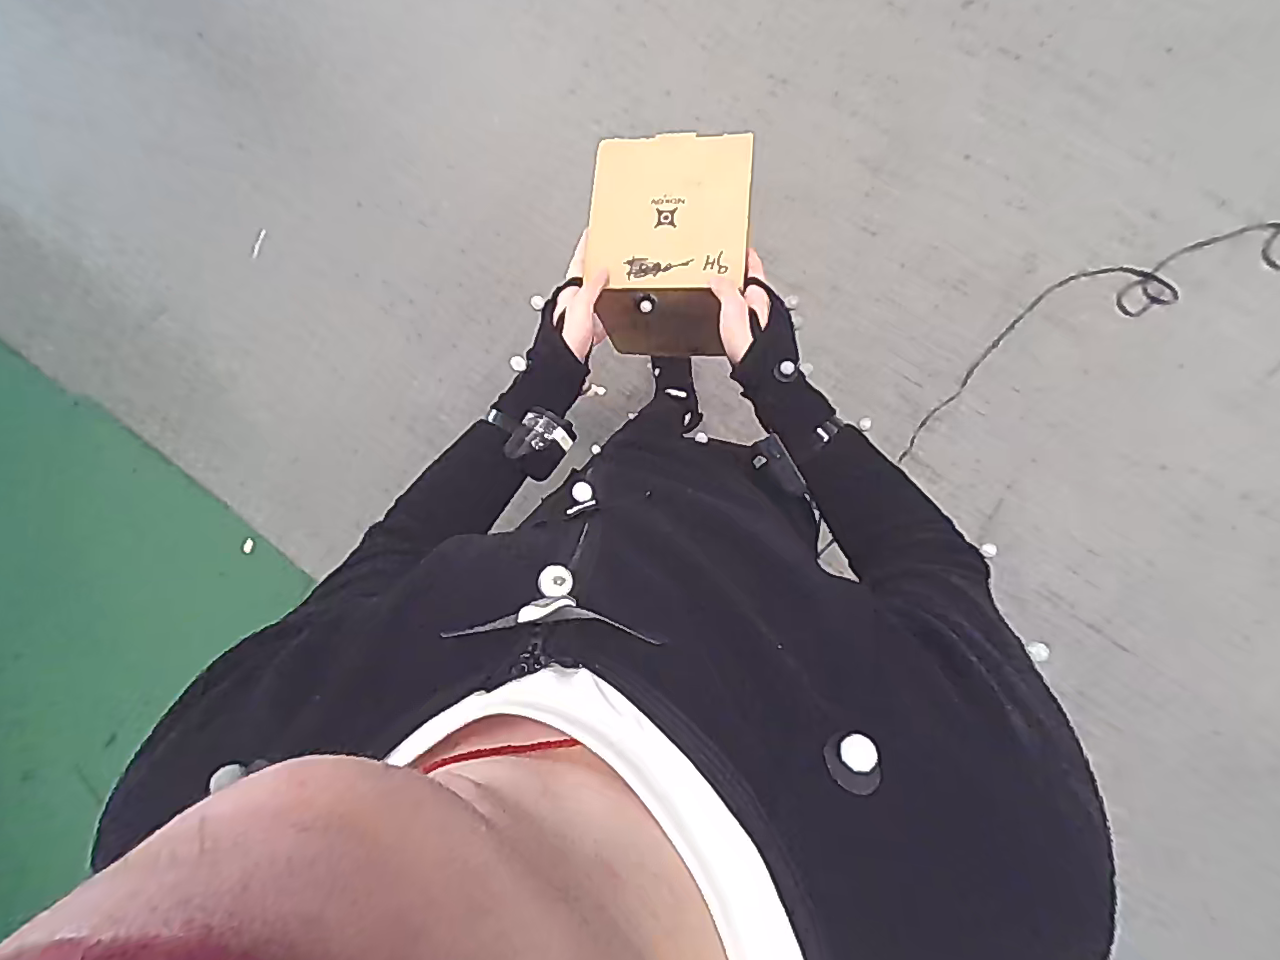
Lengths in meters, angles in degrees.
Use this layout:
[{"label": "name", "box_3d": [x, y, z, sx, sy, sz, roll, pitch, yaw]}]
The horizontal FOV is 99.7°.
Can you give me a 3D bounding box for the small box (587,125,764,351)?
[{"label": "small box", "box_3d": [0.049, -0.270, 0.628, 0.168, 0.176, 0.179, 5, 80, 11]}]
